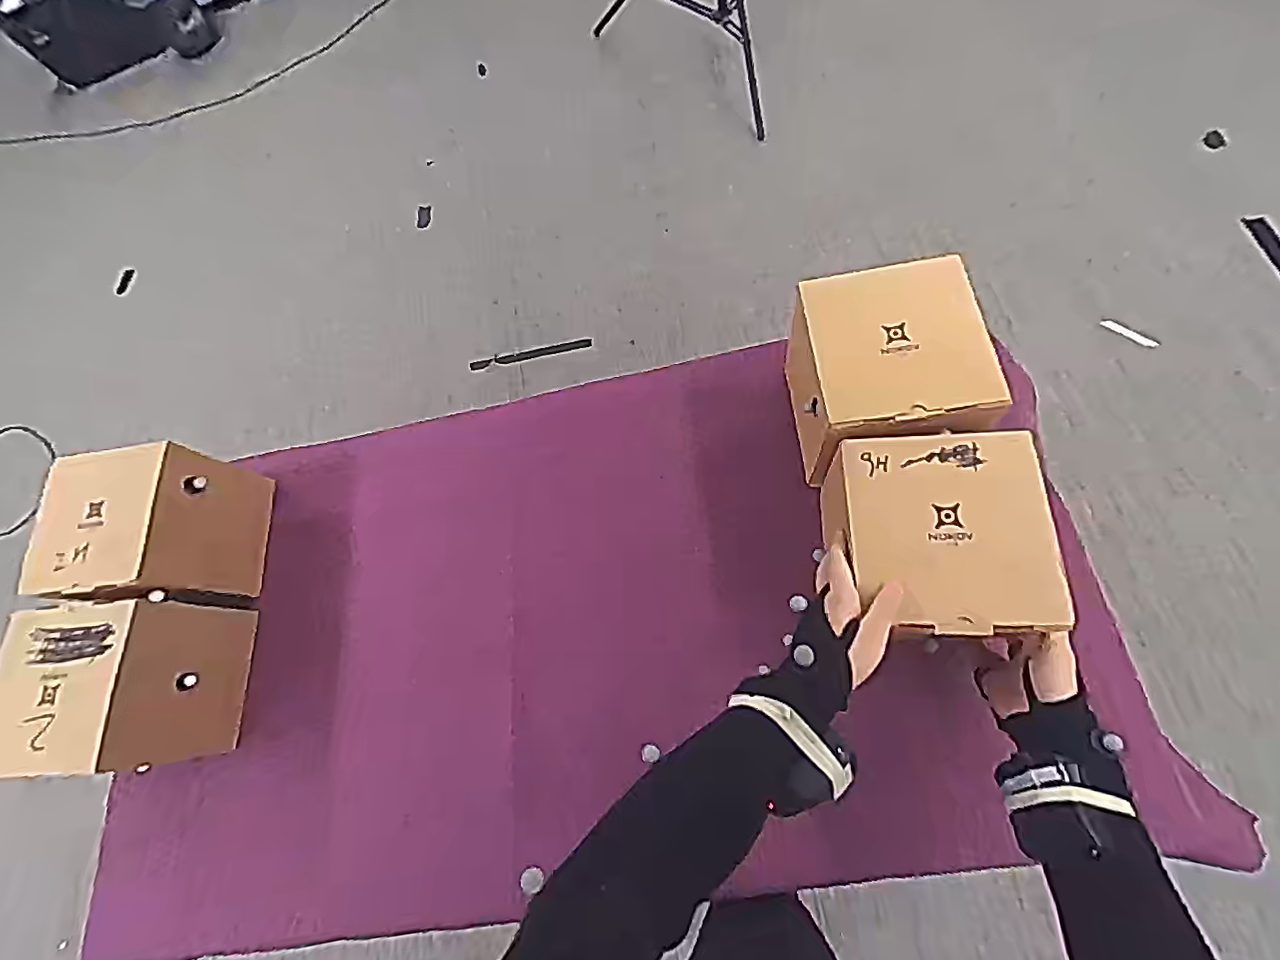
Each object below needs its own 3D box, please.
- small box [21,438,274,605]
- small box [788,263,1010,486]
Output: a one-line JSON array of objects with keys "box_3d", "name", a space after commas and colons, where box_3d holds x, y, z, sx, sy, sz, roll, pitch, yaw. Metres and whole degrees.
[{"box_3d": [-0.627, 0.064, 0.716, 0.168, 0.176, 0.179, -7, 71, 8], "name": "small box"}, {"box_3d": [0.269, -0.109, 0.612, 0.168, 0.176, 0.179, -7, 69, 7], "name": "small box"}]
